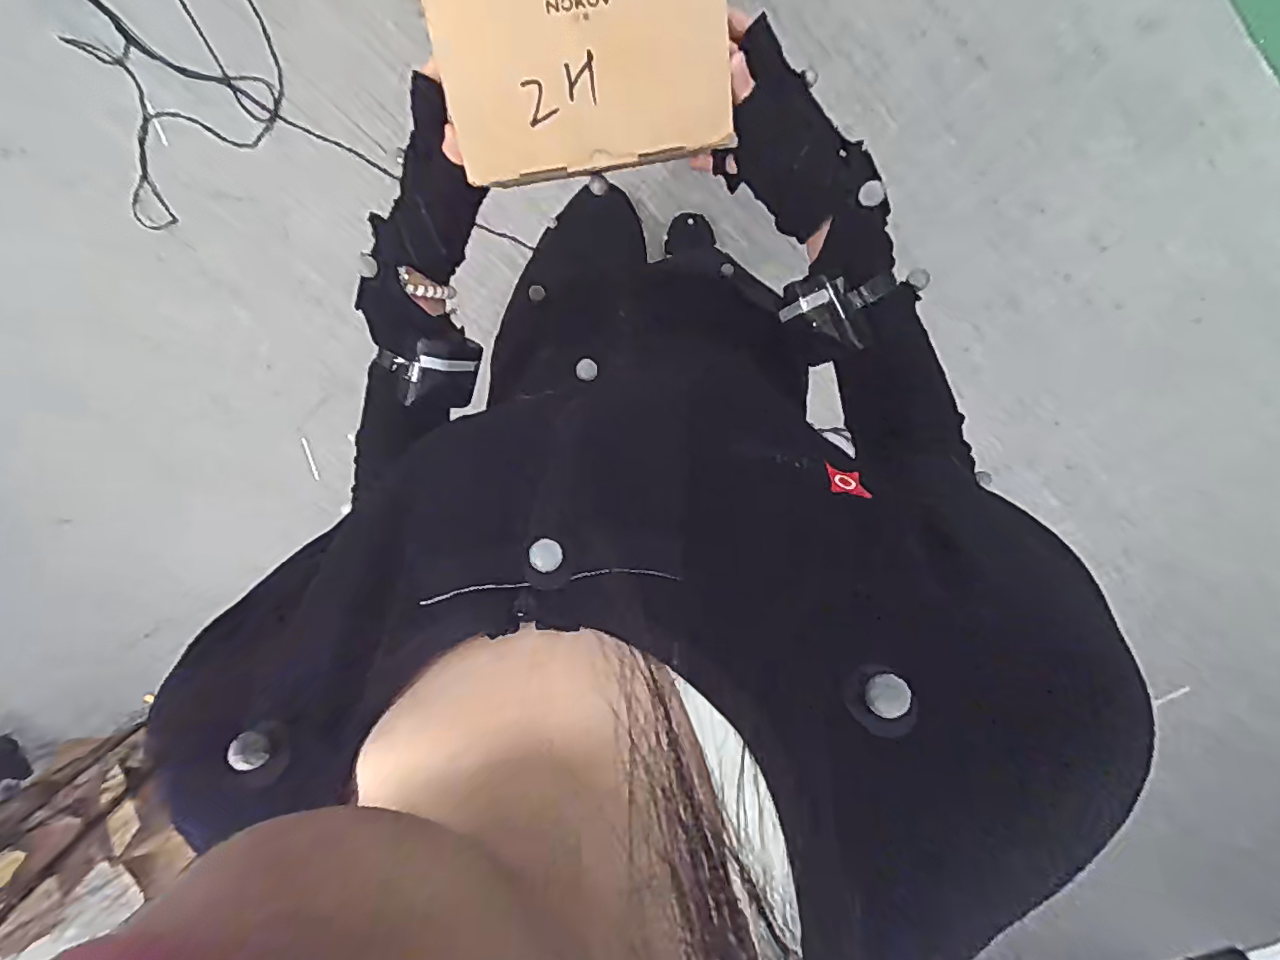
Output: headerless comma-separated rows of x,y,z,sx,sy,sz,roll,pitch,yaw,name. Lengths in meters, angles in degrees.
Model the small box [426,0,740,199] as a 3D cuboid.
-0.038,-0.292,0.356,0.168,0.176,0.179,-9,119,-1,small box
